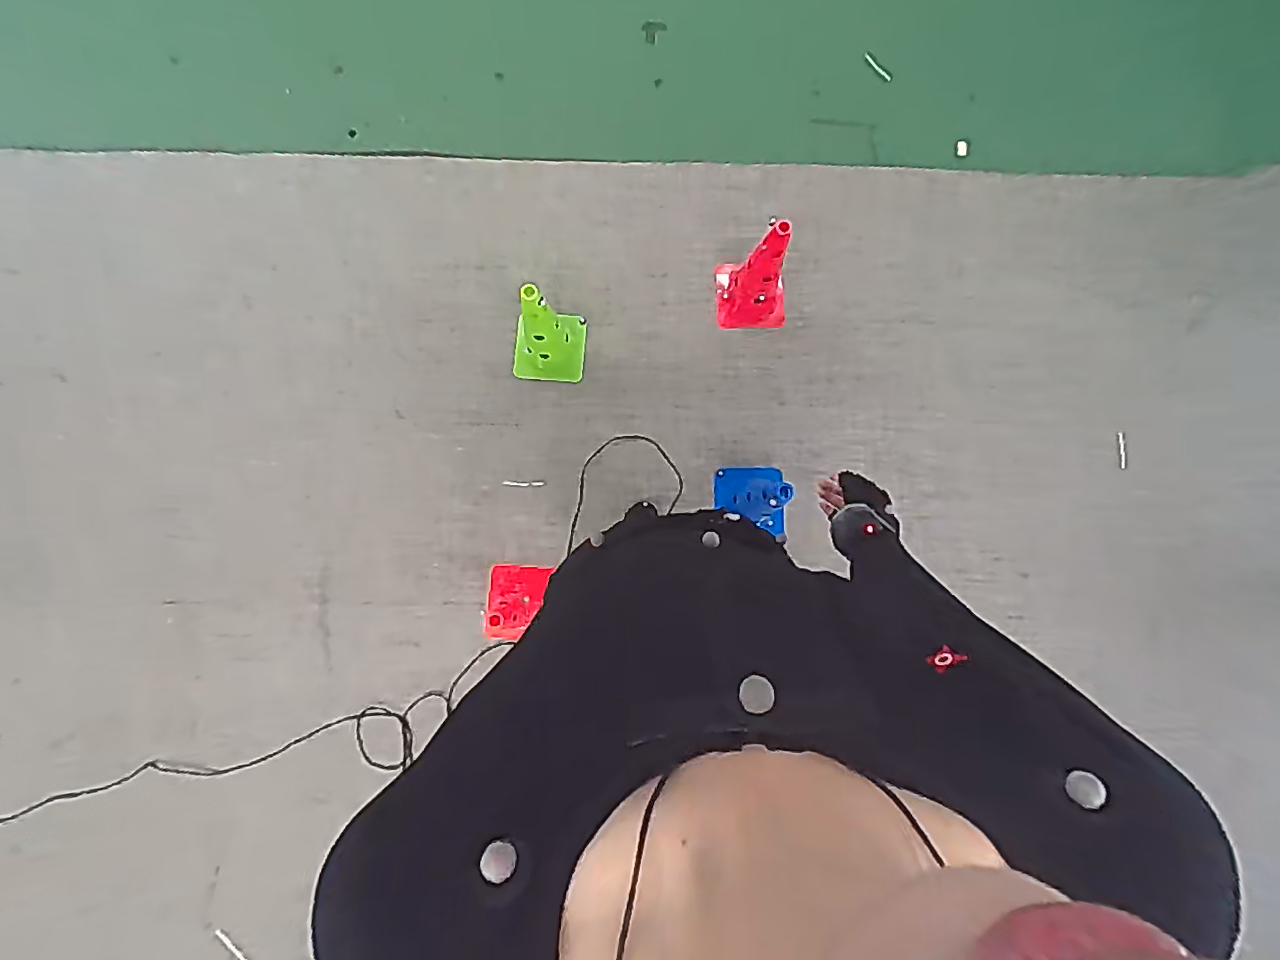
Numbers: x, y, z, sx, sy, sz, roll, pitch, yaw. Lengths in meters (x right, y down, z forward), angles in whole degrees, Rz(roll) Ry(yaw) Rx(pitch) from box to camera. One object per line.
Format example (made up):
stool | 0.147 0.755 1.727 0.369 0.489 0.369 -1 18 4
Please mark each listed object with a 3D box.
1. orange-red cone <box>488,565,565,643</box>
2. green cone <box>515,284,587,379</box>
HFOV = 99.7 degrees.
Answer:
orange-red cone | -0.304 0.315 1.311 0.198 0.360 0.199 5 82 -2
green cone | -0.256 -0.411 1.392 0.200 0.368 0.202 3 84 -1
